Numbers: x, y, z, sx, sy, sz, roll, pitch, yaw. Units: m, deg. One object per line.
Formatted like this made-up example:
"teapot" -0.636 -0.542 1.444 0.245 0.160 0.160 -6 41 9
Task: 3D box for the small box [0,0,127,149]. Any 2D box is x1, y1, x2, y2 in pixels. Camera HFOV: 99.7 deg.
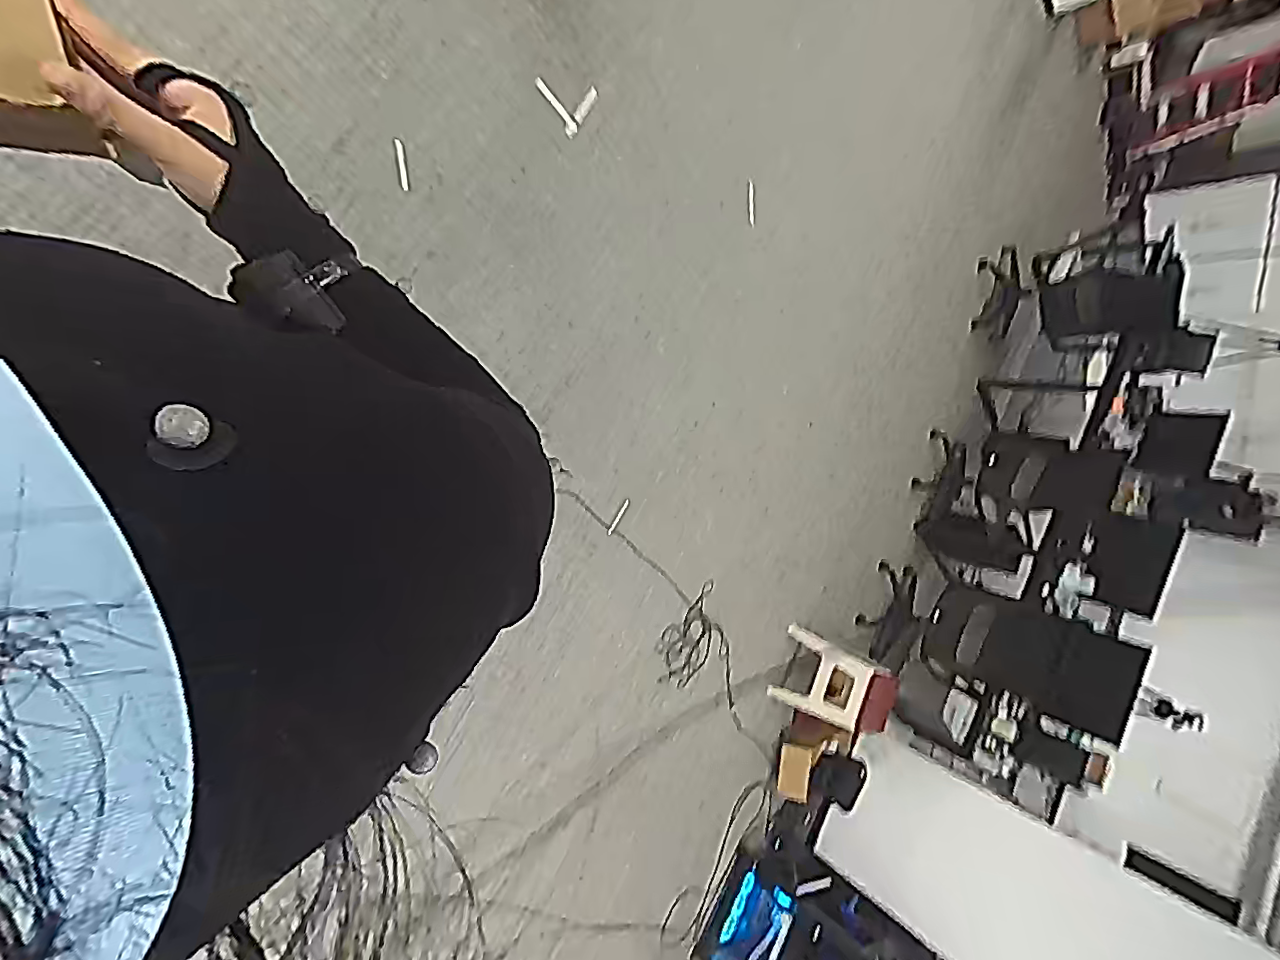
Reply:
"small box" -0.424 -0.311 0.303 0.168 0.176 0.179 -13 114 -36
